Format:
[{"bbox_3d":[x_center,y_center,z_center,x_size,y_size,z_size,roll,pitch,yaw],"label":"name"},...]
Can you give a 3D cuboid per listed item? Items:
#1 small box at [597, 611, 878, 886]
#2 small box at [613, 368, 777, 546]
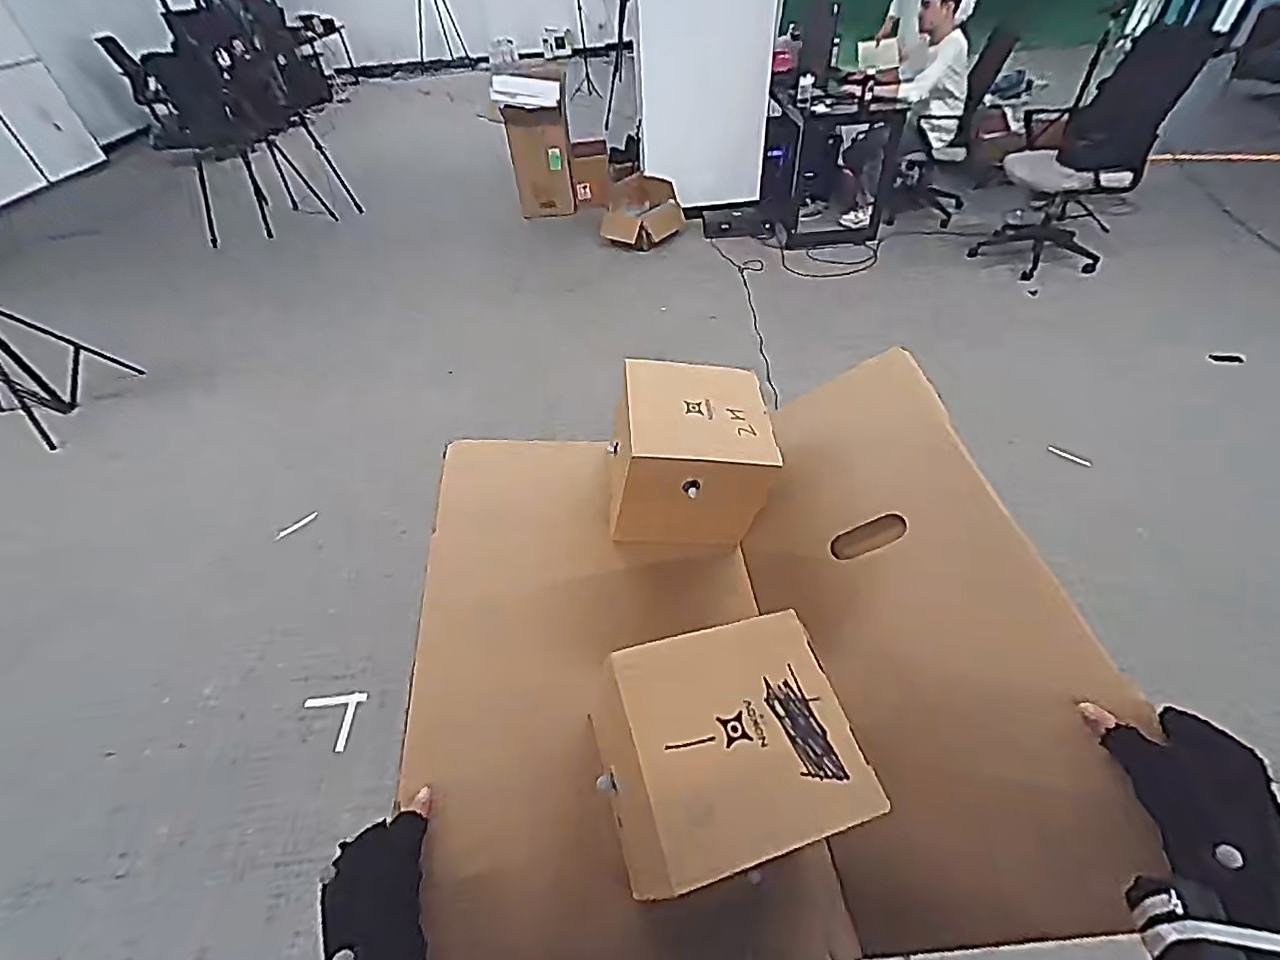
[{"bbox_3d":[0.068,0.244,0.494,0.179,0.176,0.168,-8,53,-17],"label":"small box"},{"bbox_3d":[0.057,-0.025,0.716,0.179,0.176,0.168,4,51,-9],"label":"small box"}]
